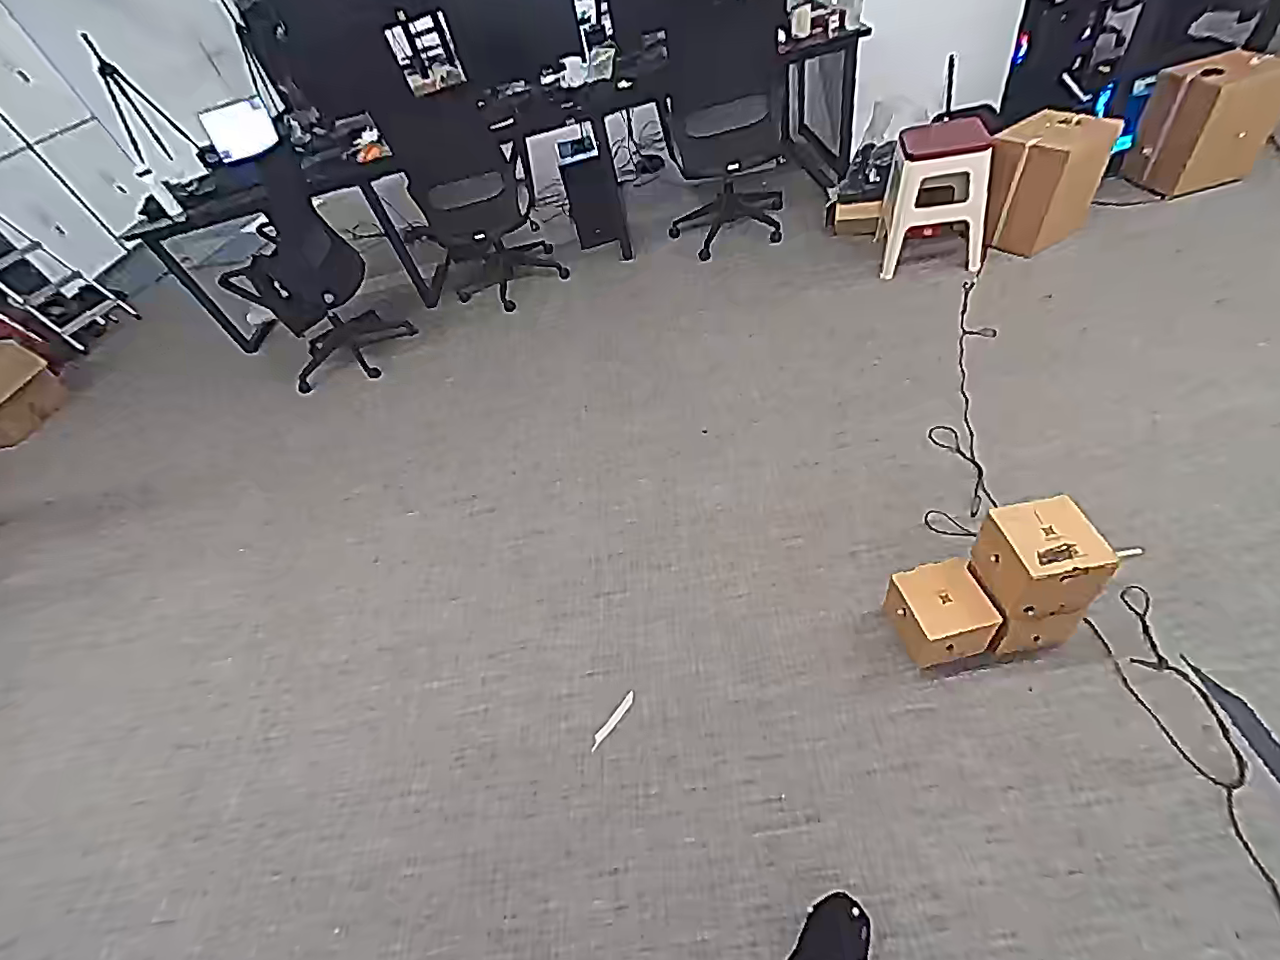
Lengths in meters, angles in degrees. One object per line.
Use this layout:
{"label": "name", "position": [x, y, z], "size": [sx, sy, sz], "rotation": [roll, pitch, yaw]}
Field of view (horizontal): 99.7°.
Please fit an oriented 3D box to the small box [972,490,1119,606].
{"label": "small box", "position": [0.842, 0.152, 1.145], "size": [0.168, 0.176, 0.179], "rotation": [-12, 47, 6]}
